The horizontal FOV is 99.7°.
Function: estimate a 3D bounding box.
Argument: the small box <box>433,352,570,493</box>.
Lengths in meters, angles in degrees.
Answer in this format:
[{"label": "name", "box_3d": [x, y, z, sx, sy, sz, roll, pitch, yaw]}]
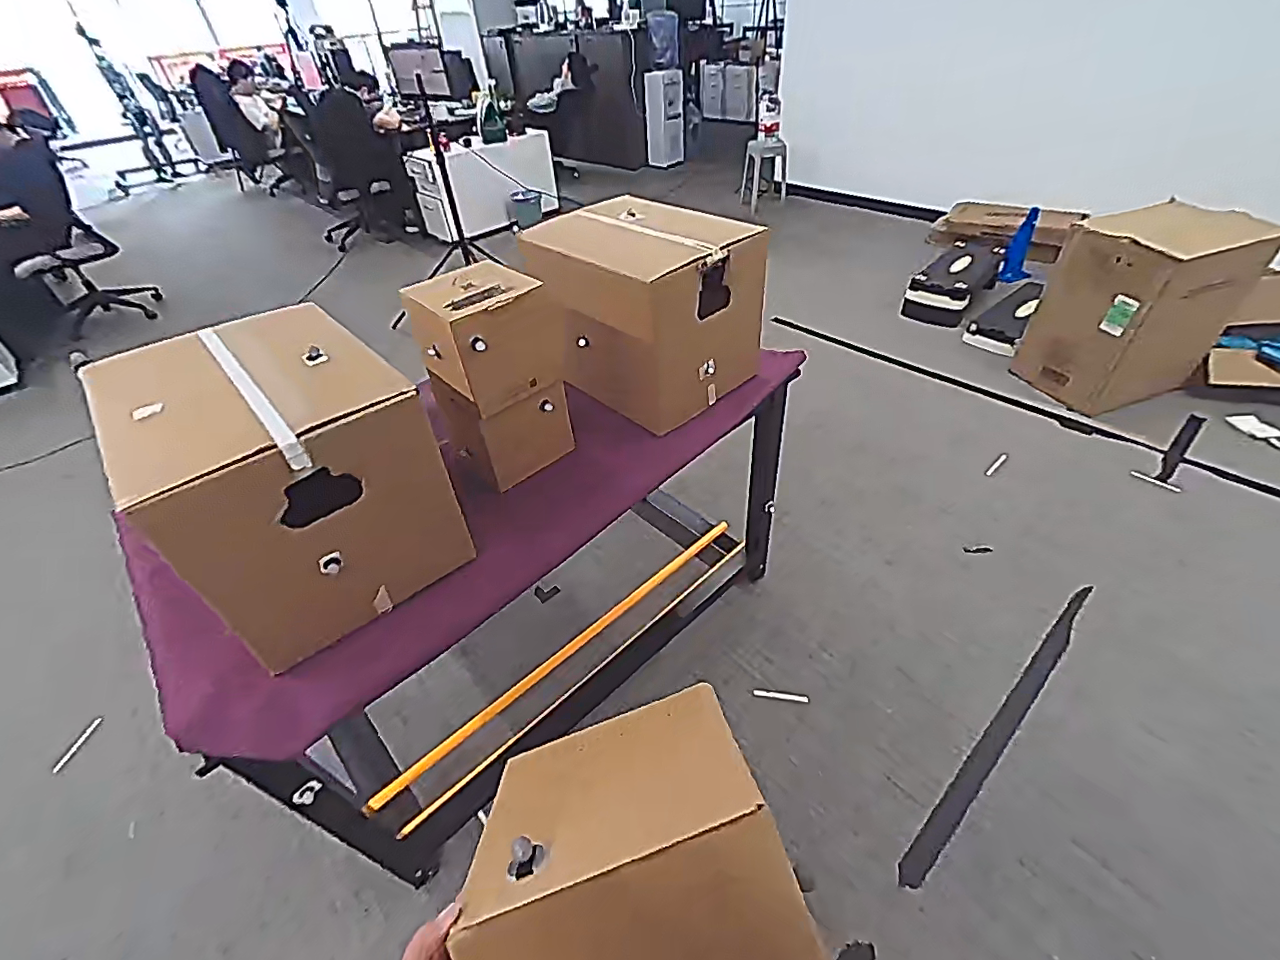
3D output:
[{"label": "small box", "box_3d": [-0.246, -0.108, 1.003, 0.179, 0.176, 0.168, -35, 49, -29]}]

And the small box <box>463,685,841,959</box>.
[{"label": "small box", "box_3d": [0.014, 0.265, 0.356, 0.179, 0.168, 0.176, -21, 2, -1]}]

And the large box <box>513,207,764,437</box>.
[{"label": "large box", "box_3d": [0.004, -0.346, 1.139, 0.320, 0.320, 0.408, -34, 48, -29]}]
